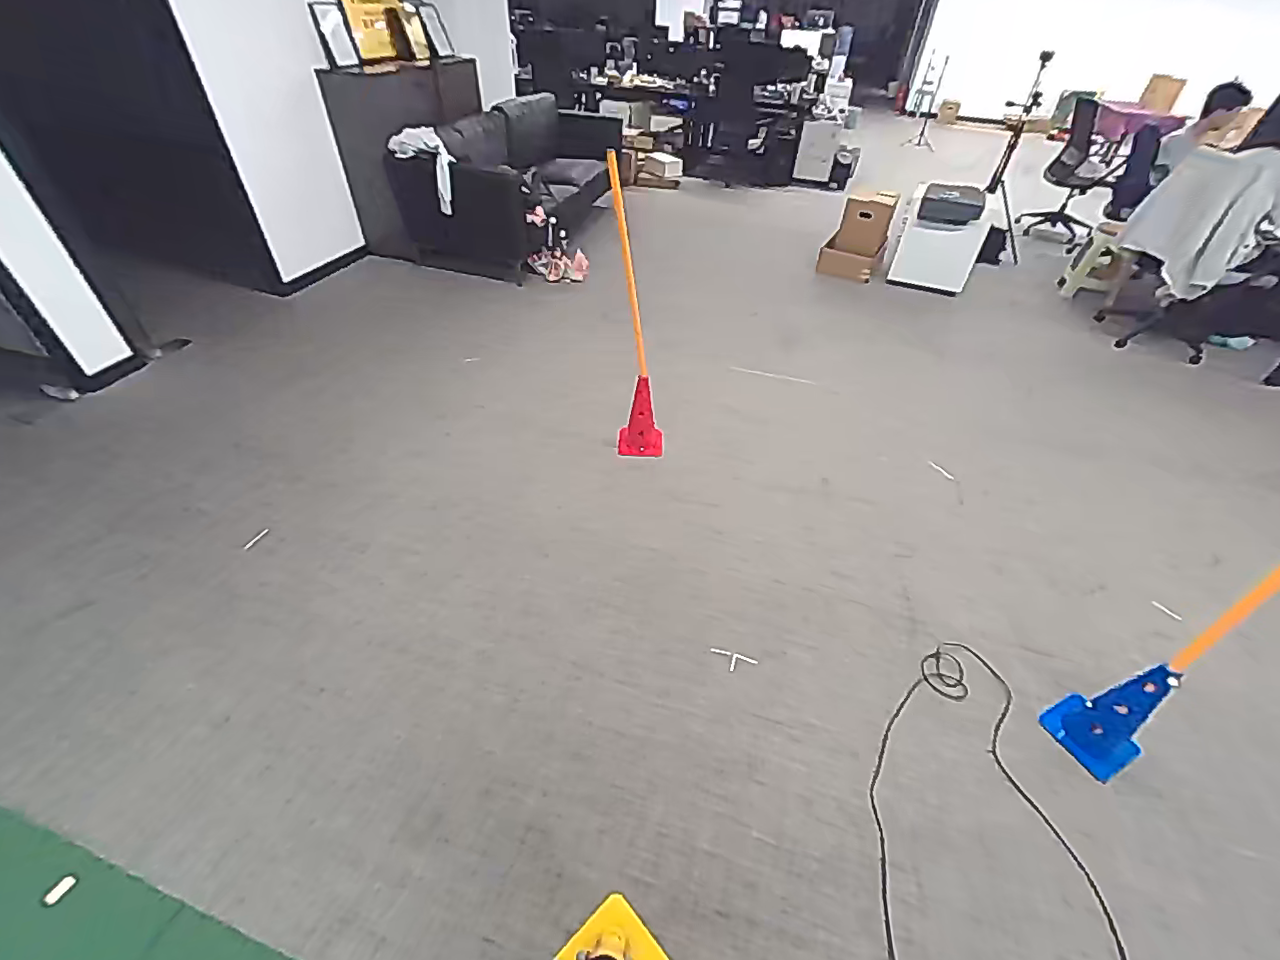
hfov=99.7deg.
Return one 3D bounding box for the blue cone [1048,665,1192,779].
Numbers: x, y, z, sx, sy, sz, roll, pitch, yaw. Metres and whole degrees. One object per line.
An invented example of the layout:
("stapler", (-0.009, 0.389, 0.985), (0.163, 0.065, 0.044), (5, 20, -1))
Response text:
("blue cone", (1.296, 0.599, 1.432), (0.193, 0.380, 0.192), (-16, 44, -24))
